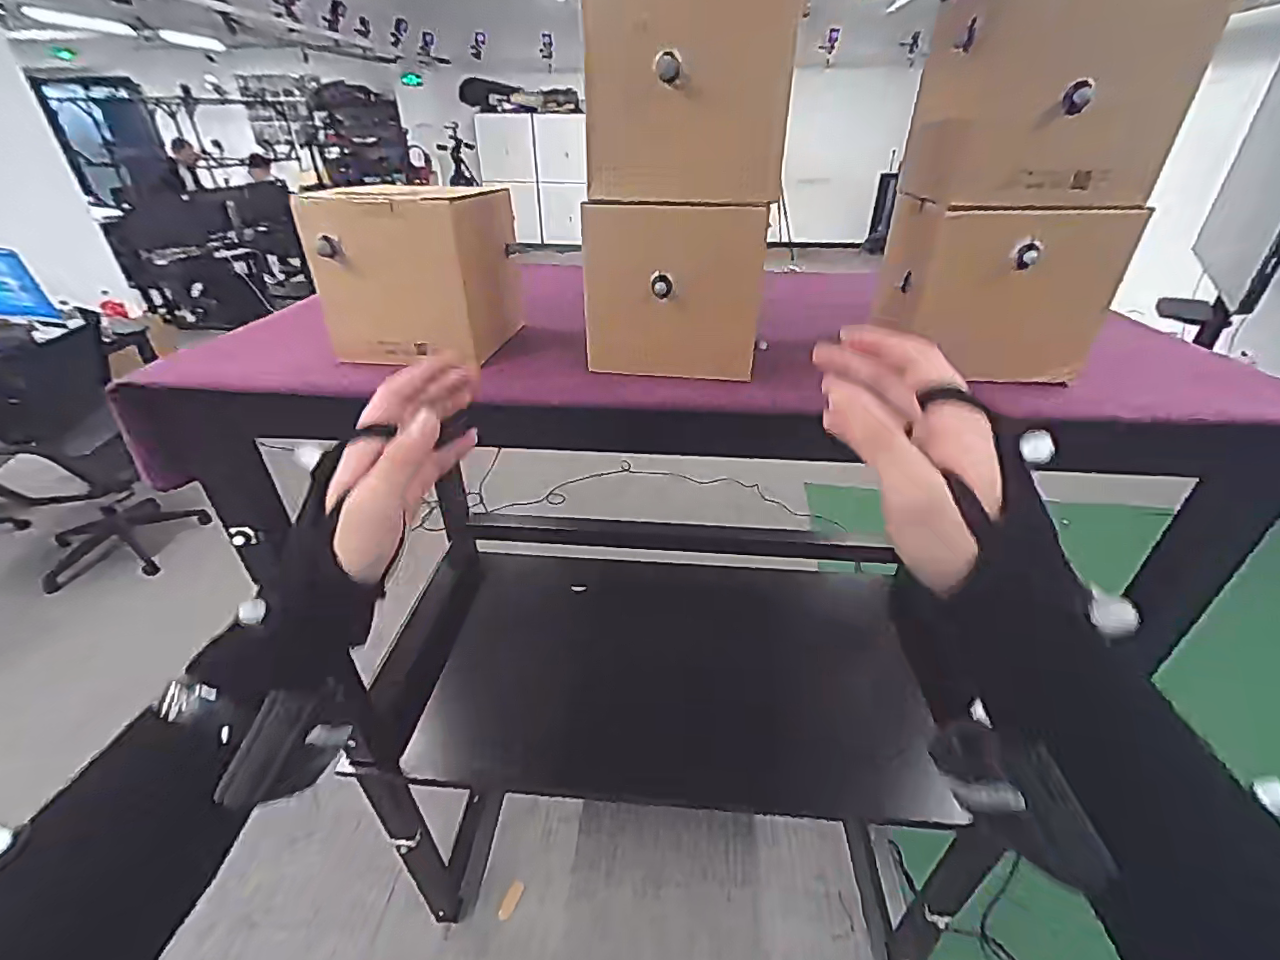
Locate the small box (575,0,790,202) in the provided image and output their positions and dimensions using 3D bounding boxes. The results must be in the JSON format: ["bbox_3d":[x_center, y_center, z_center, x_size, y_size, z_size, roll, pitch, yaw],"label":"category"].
[{"bbox_3d":[0.045,-0.366,0.520,0.179,0.176,0.168,3,33,7],"label":"small box"}]

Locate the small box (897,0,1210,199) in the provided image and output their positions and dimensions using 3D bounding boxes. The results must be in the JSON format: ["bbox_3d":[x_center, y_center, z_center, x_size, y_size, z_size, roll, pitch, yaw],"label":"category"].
[{"bbox_3d":[0.362,-0.359,0.506,0.168,0.176,0.179,4,33,7],"label":"small box"}]

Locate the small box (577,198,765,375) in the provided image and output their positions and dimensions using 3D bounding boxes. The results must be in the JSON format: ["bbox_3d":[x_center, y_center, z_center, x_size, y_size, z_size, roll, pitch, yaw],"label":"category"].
[{"bbox_3d":[0.041,-0.224,0.603,0.179,0.176,0.168,4,32,9],"label":"small box"}]

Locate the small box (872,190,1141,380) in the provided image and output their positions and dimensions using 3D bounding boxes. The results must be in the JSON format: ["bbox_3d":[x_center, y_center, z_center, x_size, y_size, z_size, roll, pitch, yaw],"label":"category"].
[{"bbox_3d":[0.365,-0.216,0.588,0.179,0.176,0.168,4,33,8],"label":"small box"}]
